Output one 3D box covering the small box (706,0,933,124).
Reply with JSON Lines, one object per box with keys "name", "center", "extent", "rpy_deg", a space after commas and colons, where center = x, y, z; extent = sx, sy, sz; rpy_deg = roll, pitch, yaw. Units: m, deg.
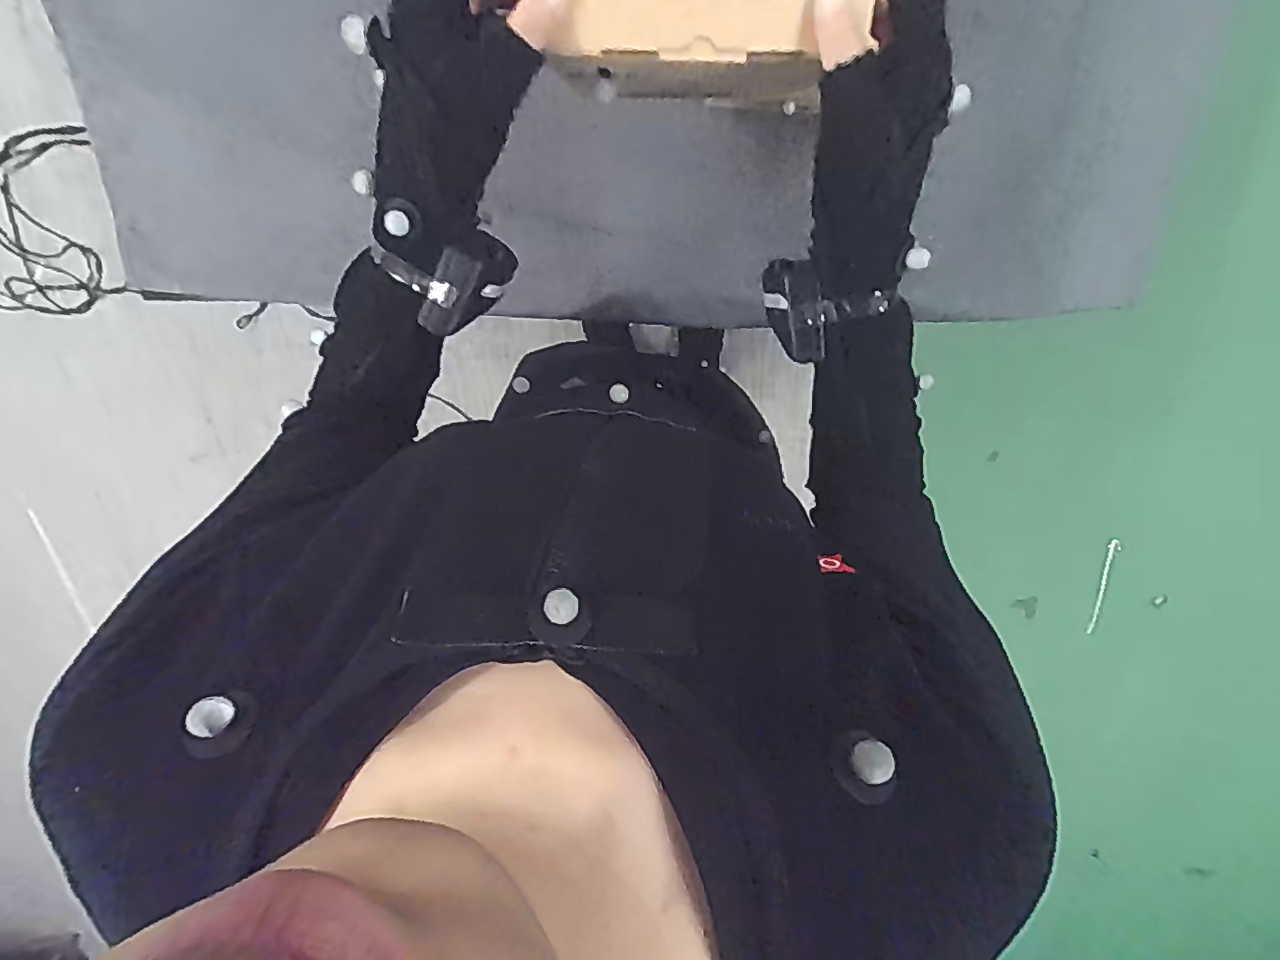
{"name": "small box", "center": [0.154, -0.449, 0.484], "extent": [0.168, 0.176, 0.179], "rpy_deg": [5, 110, 1]}
